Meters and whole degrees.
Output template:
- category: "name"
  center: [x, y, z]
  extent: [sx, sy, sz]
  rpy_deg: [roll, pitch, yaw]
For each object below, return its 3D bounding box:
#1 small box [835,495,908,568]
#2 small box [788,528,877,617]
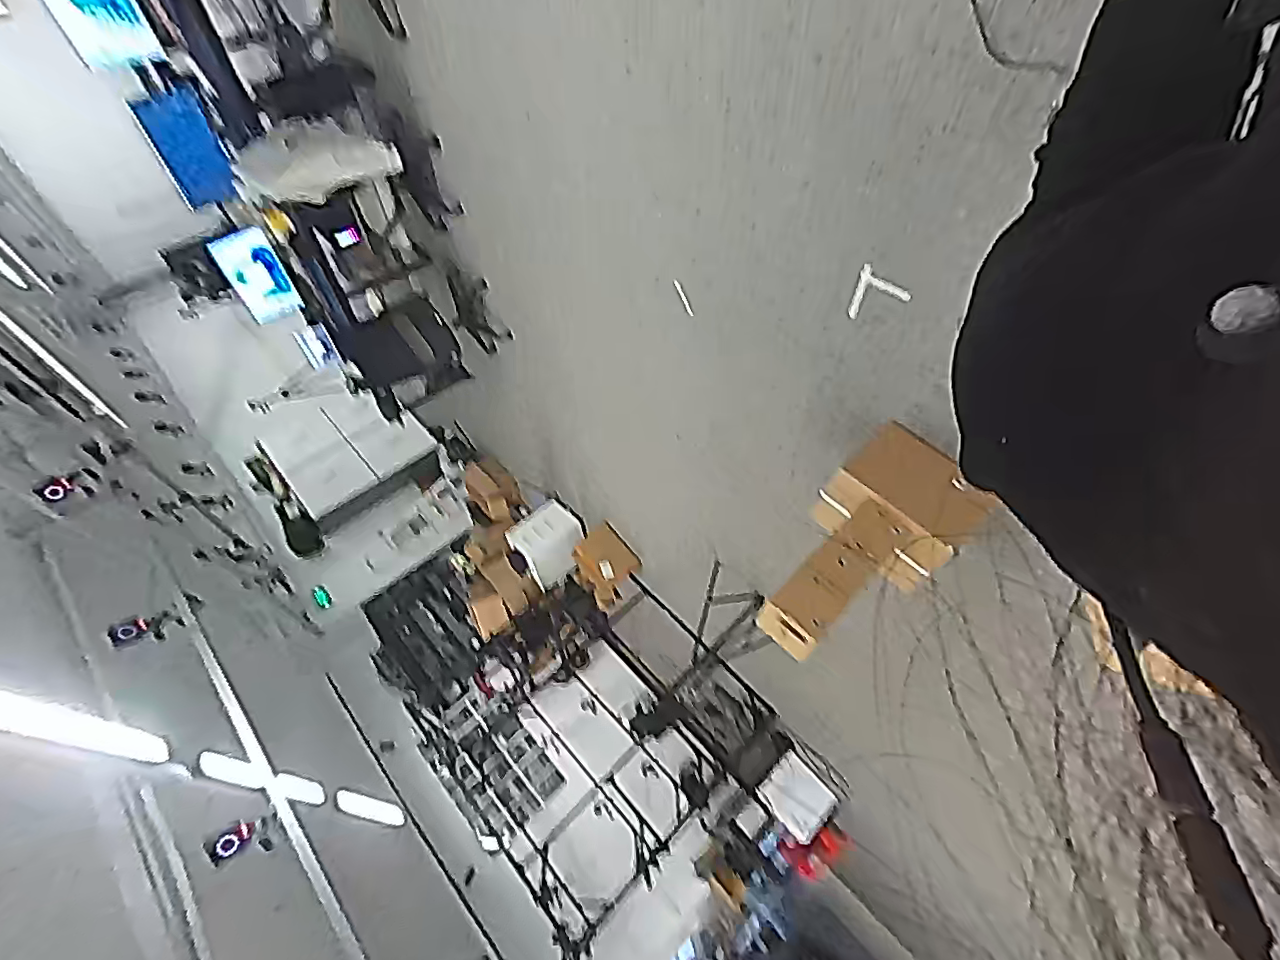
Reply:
- category: "small box"
  center: [0.700, 0.178, 1.686]
  extent: [0.168, 0.176, 0.179]
  rpy_deg: [44, 155, 19]
- category: "small box"
  center: [0.581, 0.274, 1.627]
  extent: [0.168, 0.176, 0.179]
  rpy_deg: [43, 153, 22]
